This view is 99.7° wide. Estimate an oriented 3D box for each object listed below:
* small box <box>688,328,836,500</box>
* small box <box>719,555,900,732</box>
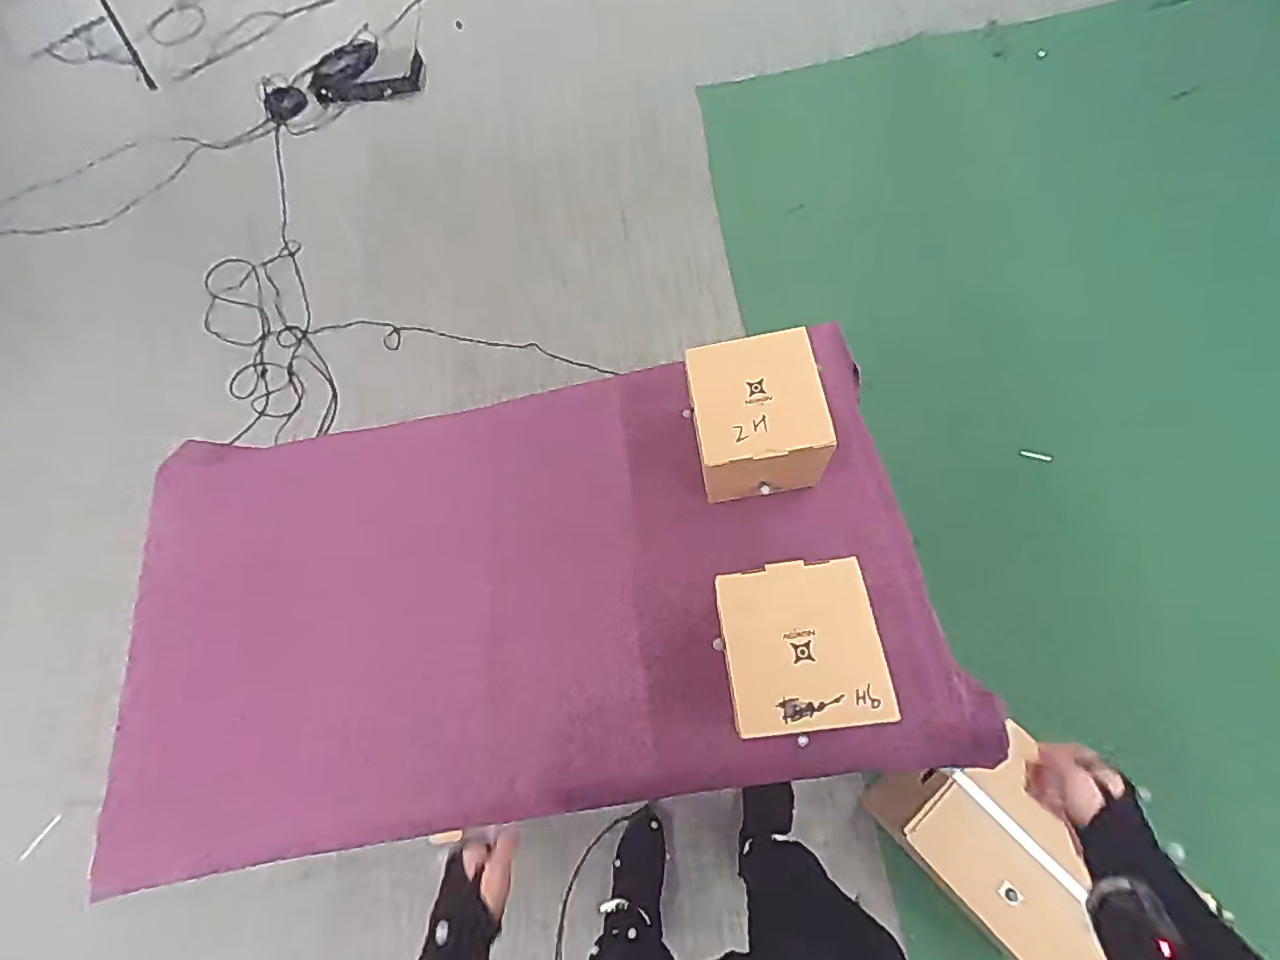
[{"bbox_3d":[0.165,-0.086,0.777,0.168,0.176,0.179,-10,70,6],"label":"small box"},{"bbox_3d":[0.189,0.206,0.665,0.168,0.176,0.179,-9,66,6],"label":"small box"}]
